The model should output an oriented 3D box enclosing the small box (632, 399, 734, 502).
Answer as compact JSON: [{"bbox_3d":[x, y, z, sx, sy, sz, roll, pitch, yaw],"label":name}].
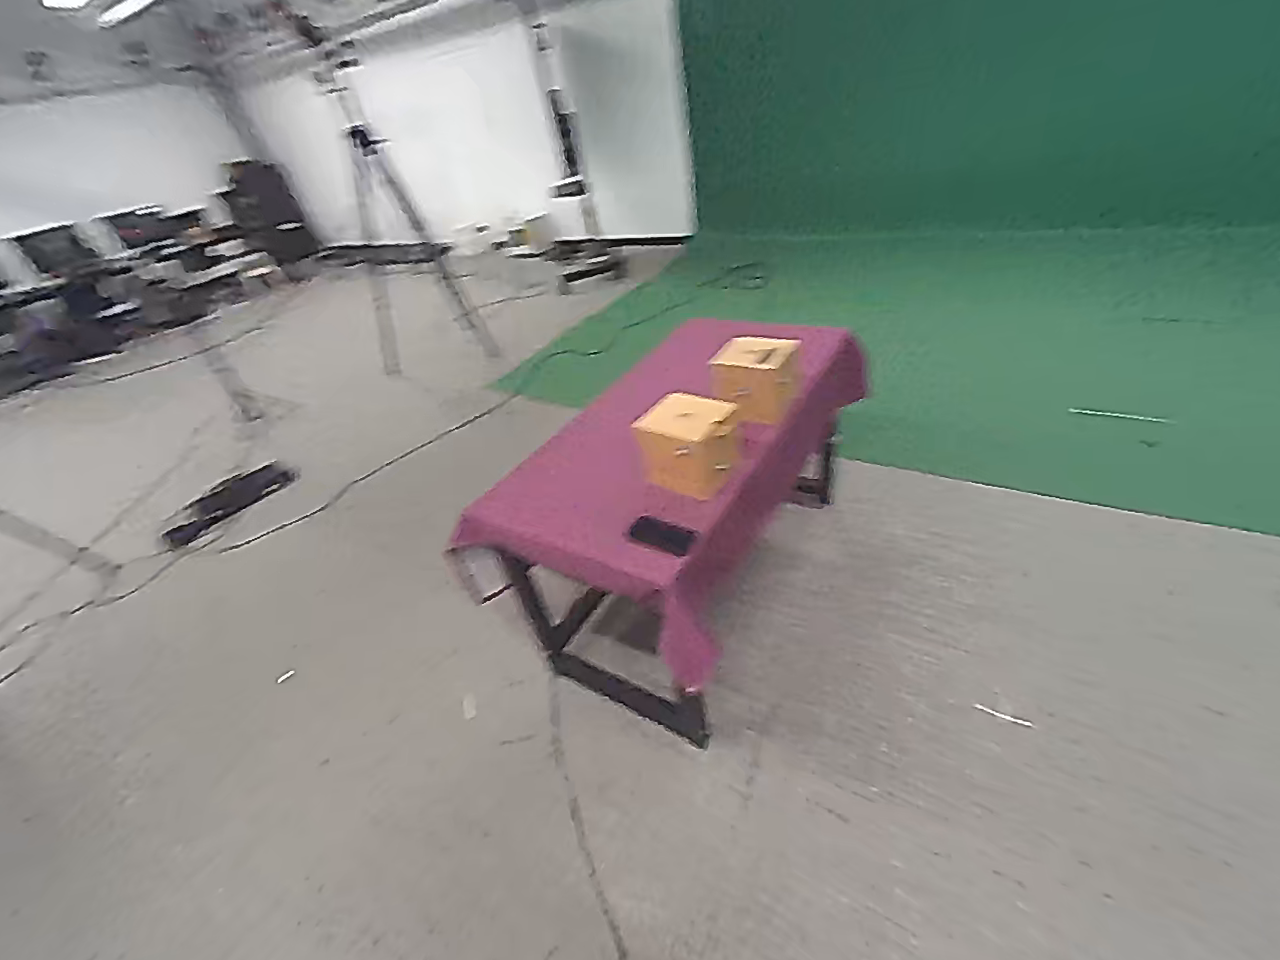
[{"bbox_3d":[0.108,-0.071,1.288,0.179,0.176,0.168,18,46,34],"label":"small box"}]
